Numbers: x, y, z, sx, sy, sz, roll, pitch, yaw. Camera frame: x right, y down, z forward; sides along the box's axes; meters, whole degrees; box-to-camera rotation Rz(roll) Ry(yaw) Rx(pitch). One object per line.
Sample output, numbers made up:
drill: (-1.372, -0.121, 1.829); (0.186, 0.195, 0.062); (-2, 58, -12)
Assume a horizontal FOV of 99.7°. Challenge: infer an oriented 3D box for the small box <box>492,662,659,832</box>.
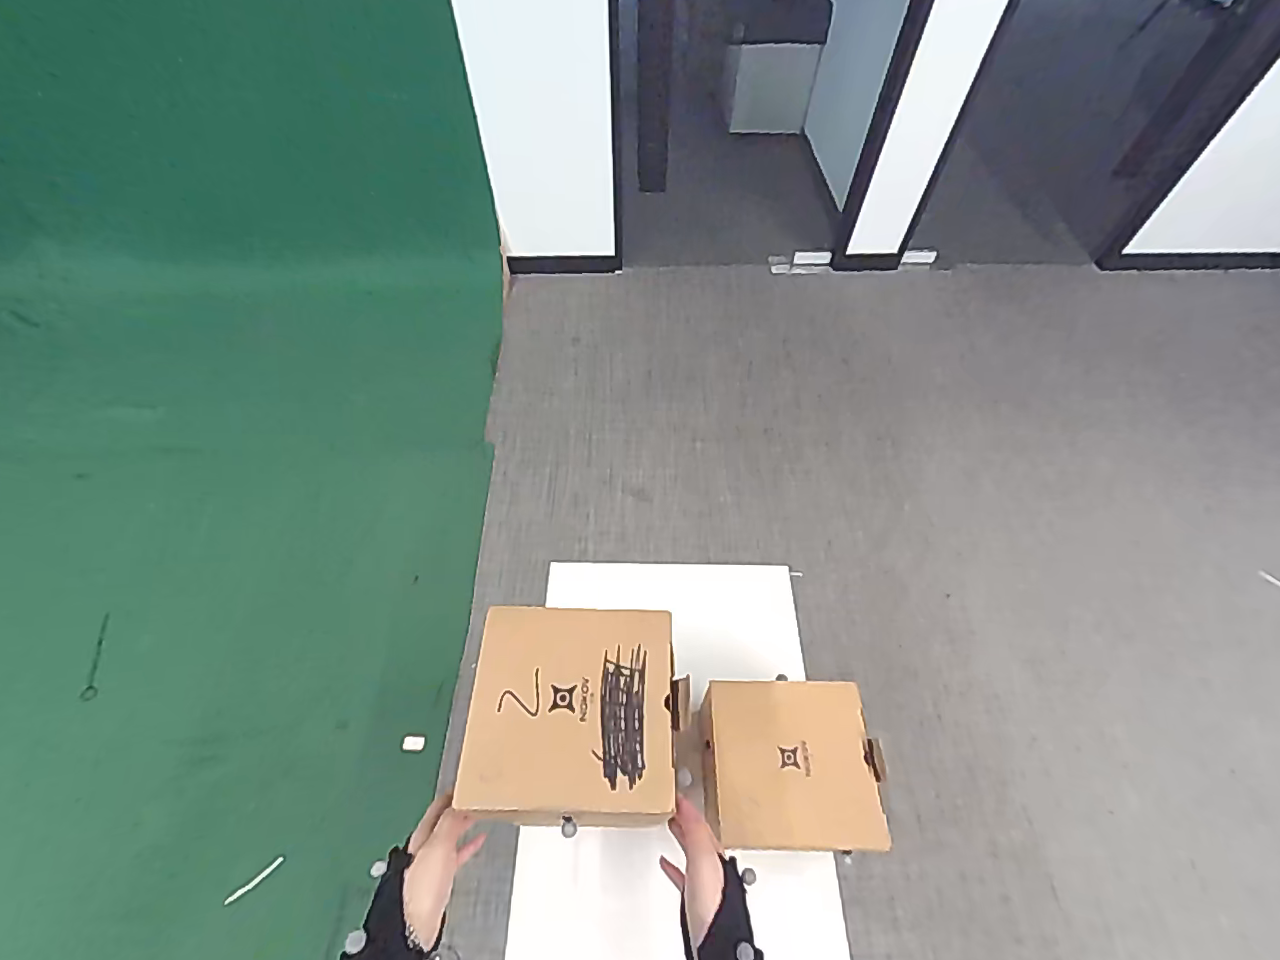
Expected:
small box: (-0.066, 0.331, 0.664); (0.179, 0.176, 0.168); (1, 55, -1)
